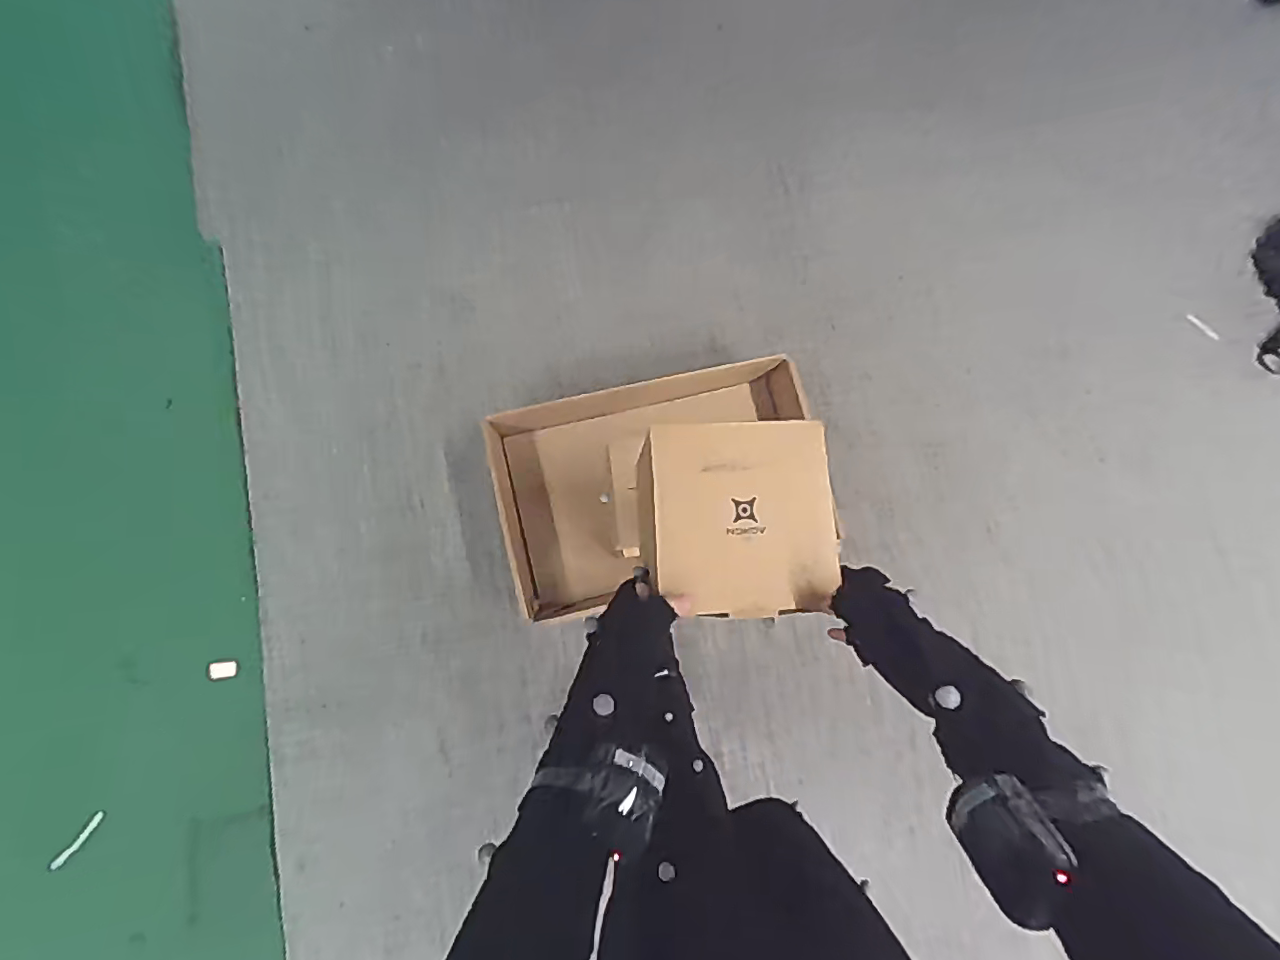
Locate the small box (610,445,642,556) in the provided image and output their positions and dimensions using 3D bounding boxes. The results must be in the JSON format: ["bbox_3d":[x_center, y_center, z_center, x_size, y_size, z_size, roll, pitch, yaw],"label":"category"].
[{"bbox_3d":[0.045,0.036,0.897,0.179,0.176,0.168,-5,81,-4],"label":"small box"}]

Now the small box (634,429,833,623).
[{"bbox_3d":[0.083,0.054,0.568,0.168,0.176,0.179,-1,76,-5],"label":"small box"}]
